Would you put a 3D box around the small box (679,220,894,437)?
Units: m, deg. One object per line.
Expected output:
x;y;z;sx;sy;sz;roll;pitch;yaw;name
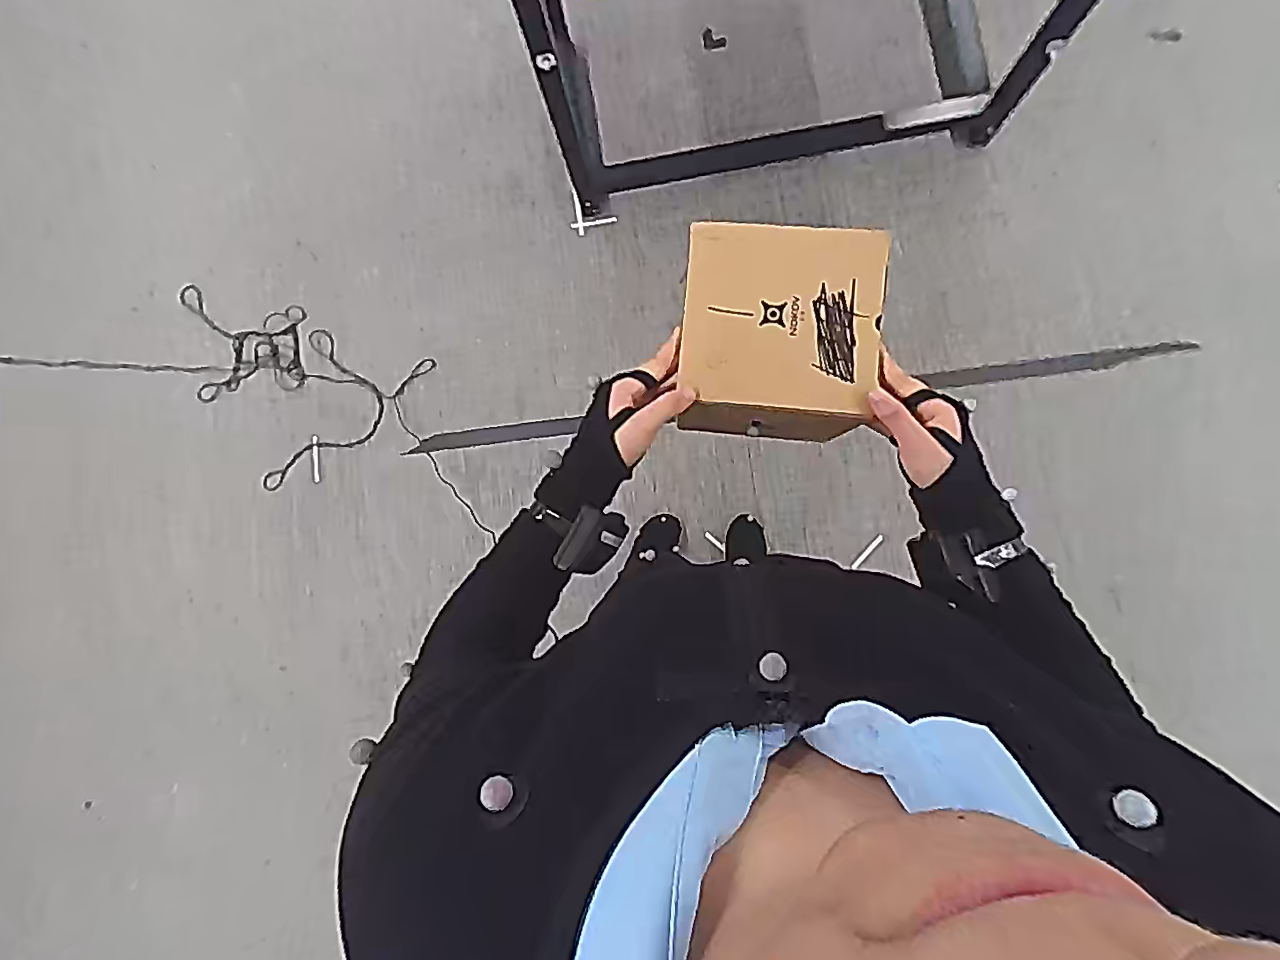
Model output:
0.134;-0.139;0.553;0.179;0.176;0.168;5;86;6;small box
